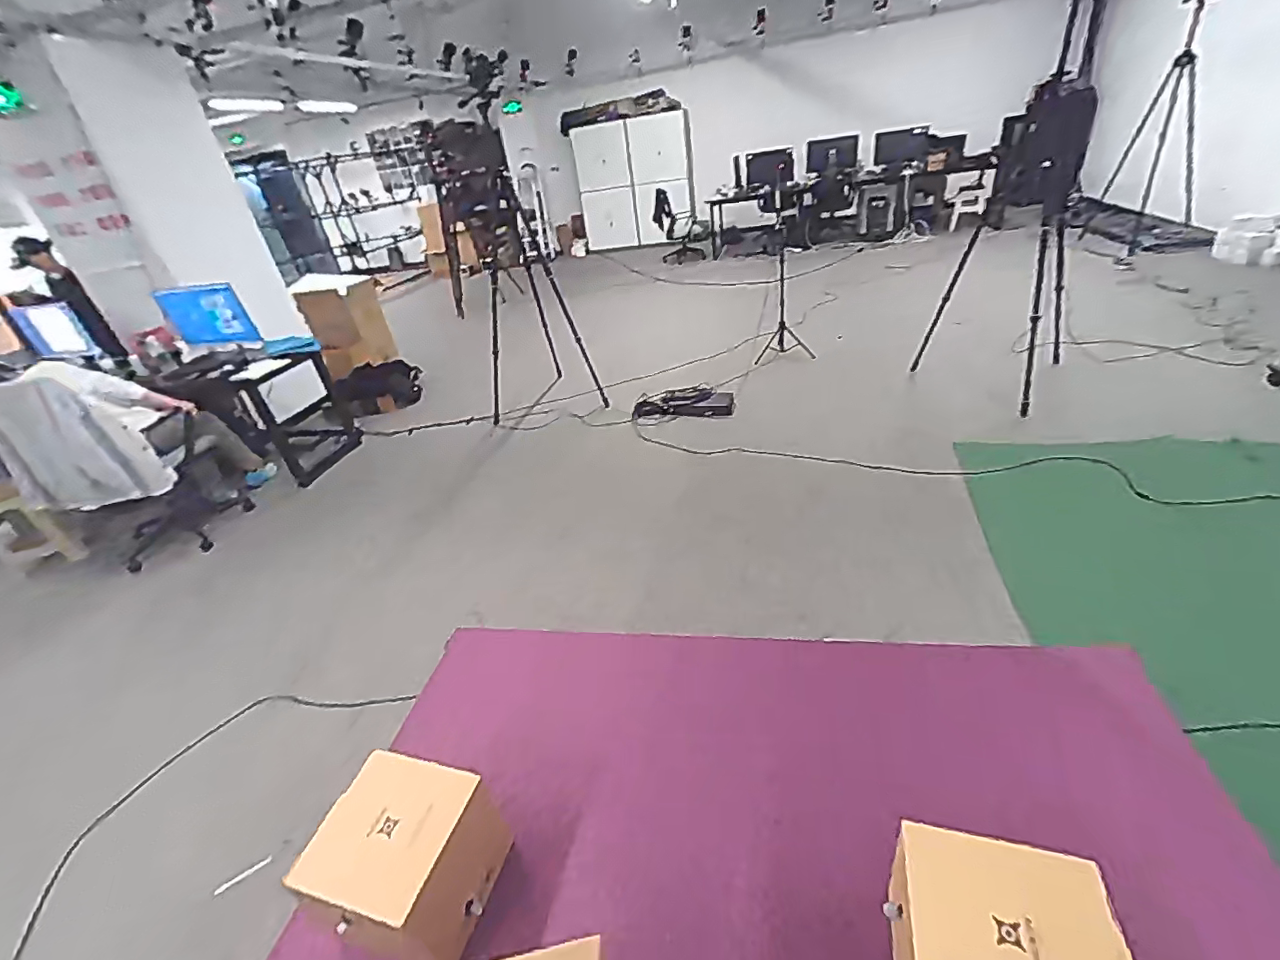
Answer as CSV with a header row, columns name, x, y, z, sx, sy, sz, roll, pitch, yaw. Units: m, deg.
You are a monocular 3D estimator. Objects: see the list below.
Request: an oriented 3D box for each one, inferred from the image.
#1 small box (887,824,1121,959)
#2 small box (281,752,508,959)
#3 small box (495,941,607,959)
name,x,y,z,sx,sy,sz,roll,pitch,yaw
small box,0.345,0.483,0.532,0.179,0.176,0.168,2,33,18
small box,-0.300,0.490,0.697,0.179,0.176,0.168,3,34,19
small box,-0.098,0.487,0.391,0.179,0.168,0.176,-11,-11,-3
